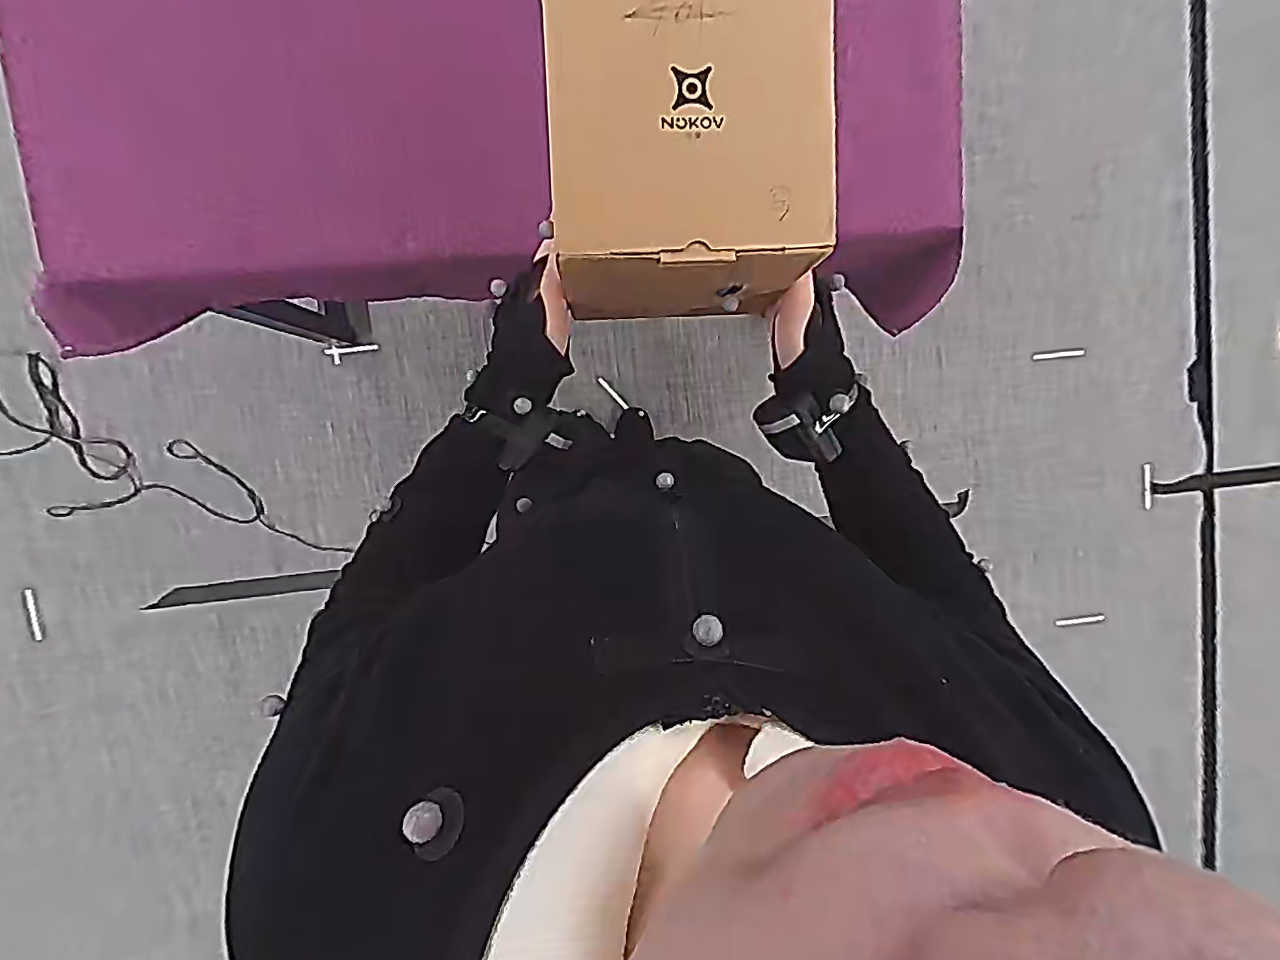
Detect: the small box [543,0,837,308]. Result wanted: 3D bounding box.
[{"bbox_3d":[0.025,-0.224,0.383,0.168,0.176,0.179,-2,95,-4],"label":"small box"}]
